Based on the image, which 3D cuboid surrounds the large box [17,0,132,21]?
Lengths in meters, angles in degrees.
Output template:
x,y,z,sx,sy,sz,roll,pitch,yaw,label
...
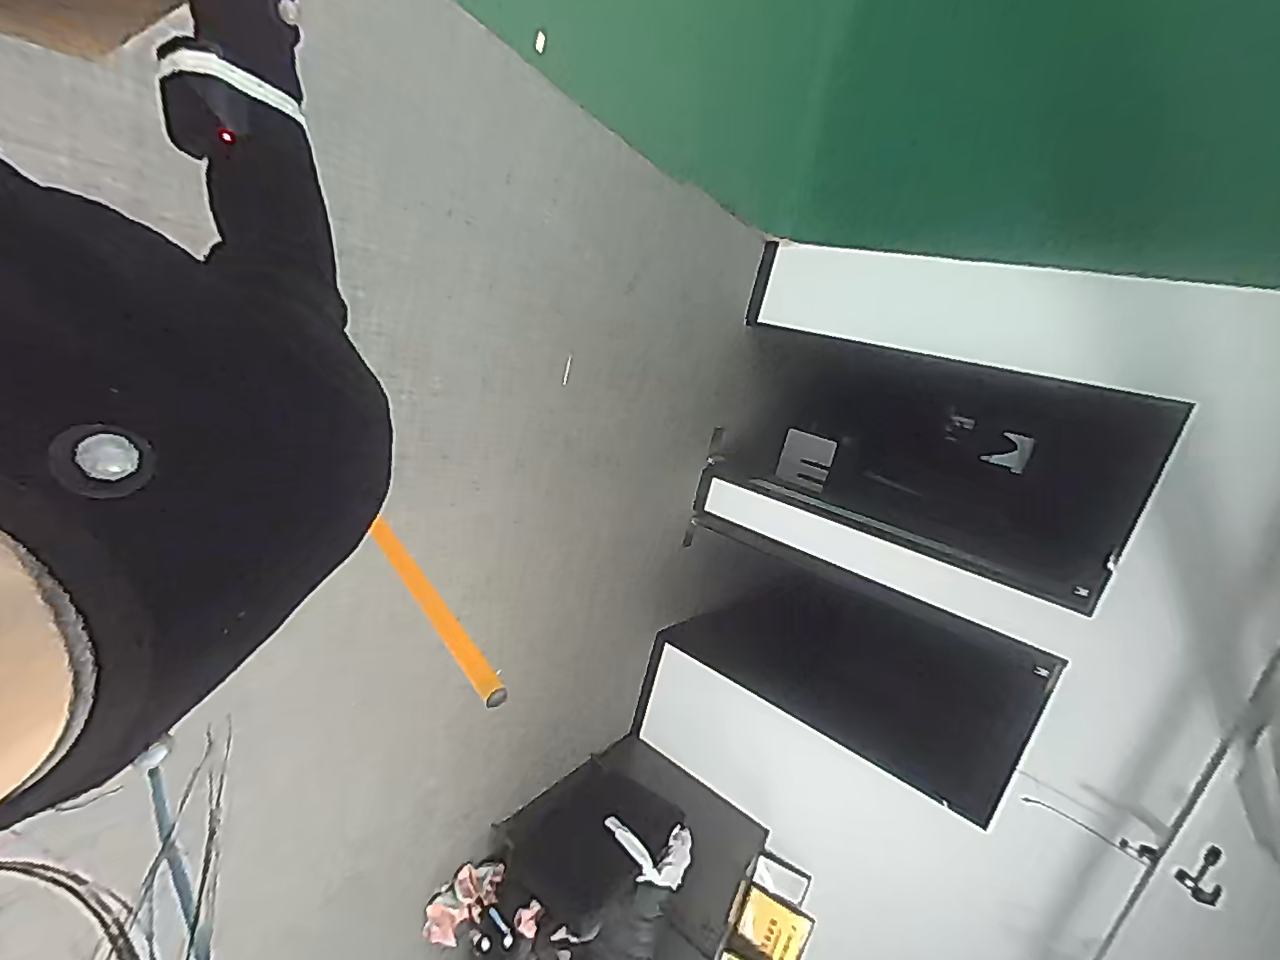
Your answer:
x,y,z,sx,sy,sz,roll,pitch,yaw,label
-0.522,-0.509,0.255,0.408,0.320,0.320,-16,119,-51,large box
